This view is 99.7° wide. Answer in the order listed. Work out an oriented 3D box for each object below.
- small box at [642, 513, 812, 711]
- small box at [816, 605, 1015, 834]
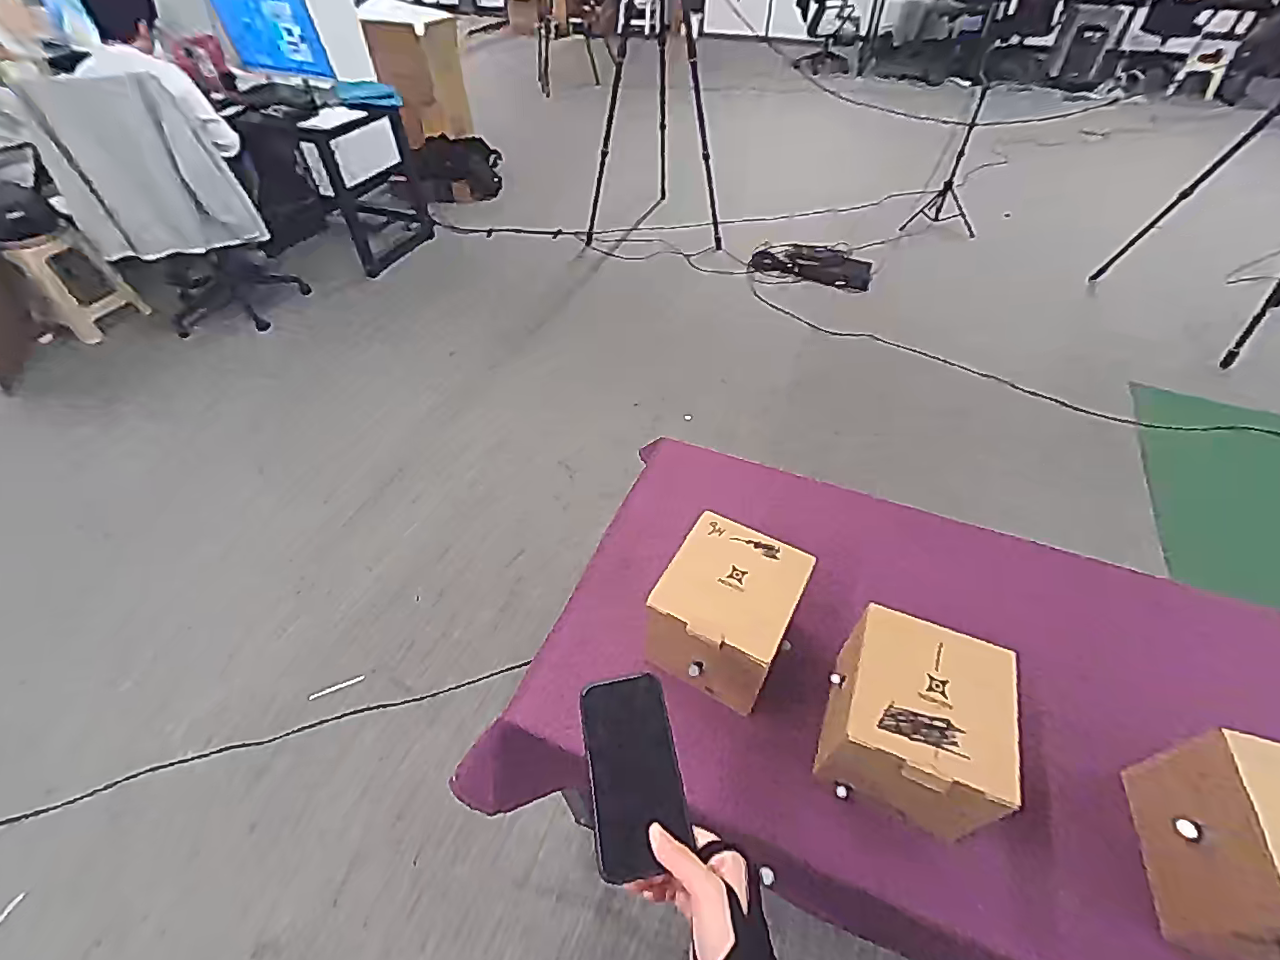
[{"bbox_3d":[0.117,0.185,0.751,0.168,0.176,0.179,23,52,21],"label":"small box"},{"bbox_3d":[0.322,0.289,0.651,0.168,0.176,0.179,18,49,16],"label":"small box"}]
